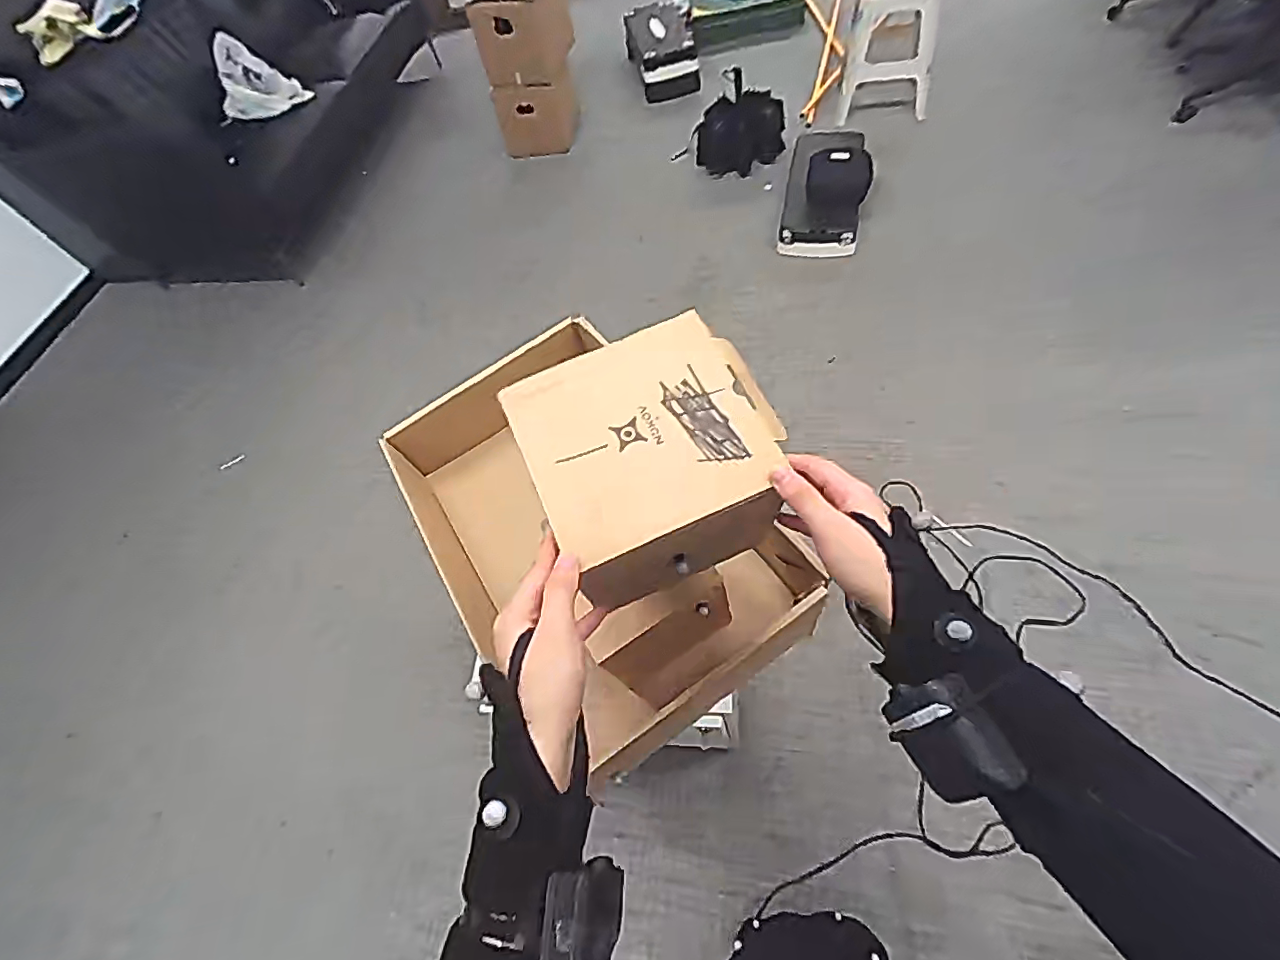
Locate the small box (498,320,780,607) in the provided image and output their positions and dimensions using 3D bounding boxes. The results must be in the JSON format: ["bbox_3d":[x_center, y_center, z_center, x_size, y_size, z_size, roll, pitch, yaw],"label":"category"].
[{"bbox_3d":[-0.001,-0.004,0.491,0.179,0.176,0.168,-24,66,-6],"label":"small box"}]
